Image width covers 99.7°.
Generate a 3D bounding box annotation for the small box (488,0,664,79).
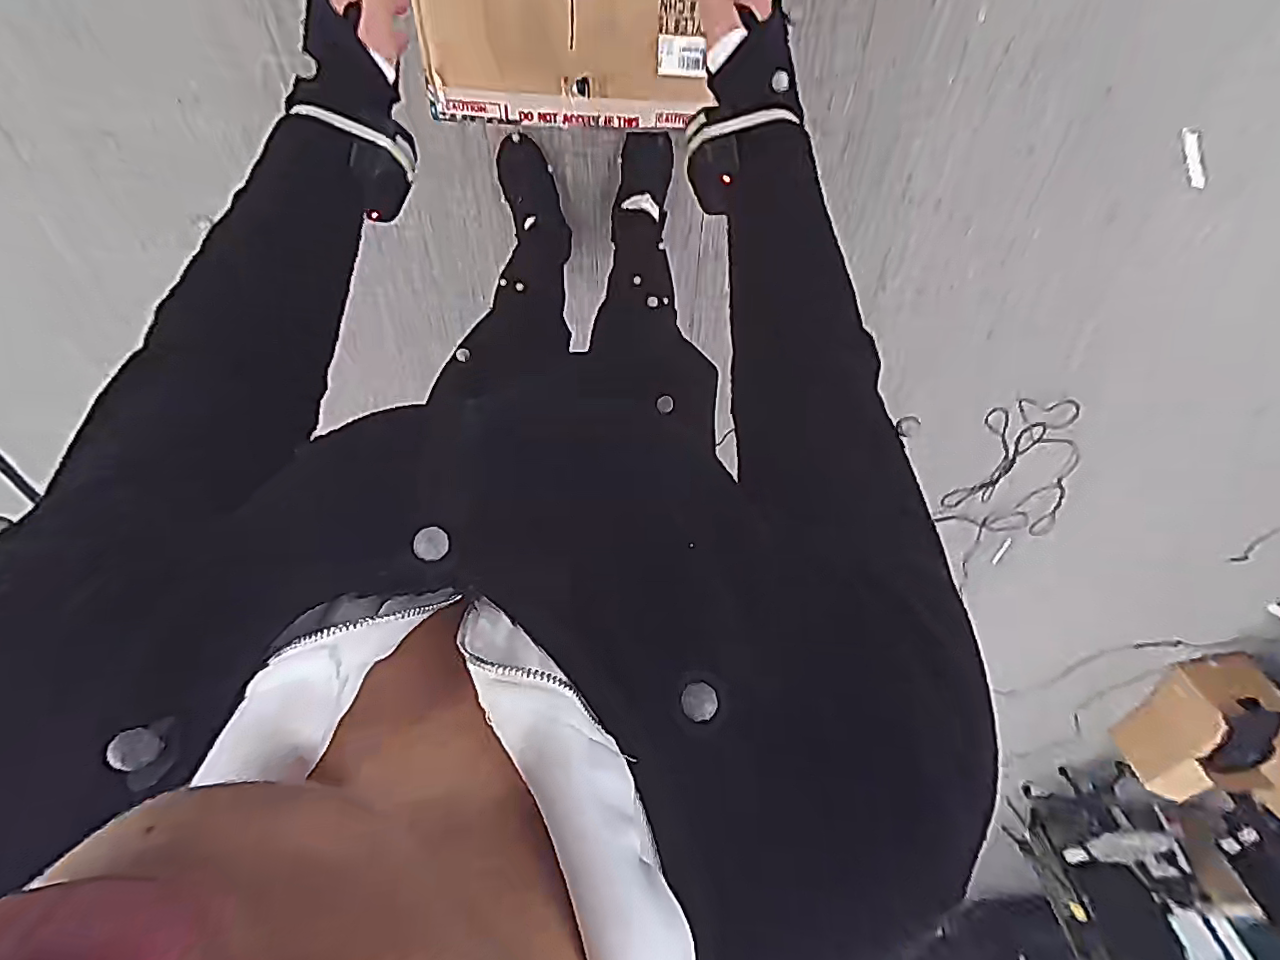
[{"bbox_3d":[-0.061,-0.520,0.536,0.168,0.176,0.179,0,135,-2],"label":"small box"}]
